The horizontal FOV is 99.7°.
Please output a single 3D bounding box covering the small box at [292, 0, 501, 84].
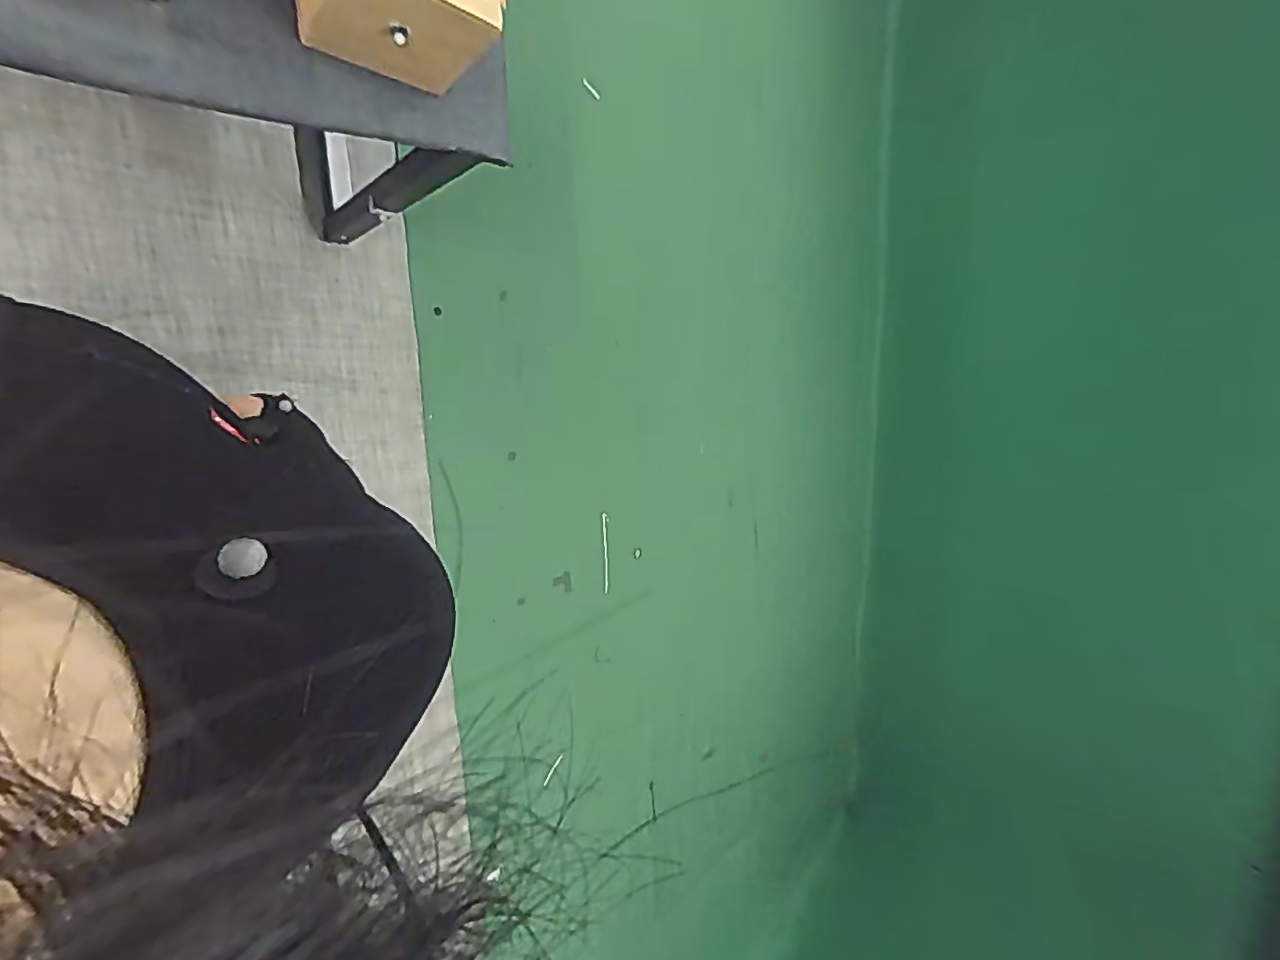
[{"bbox_3d":[-0.283,-0.599,0.619,0.179,0.176,0.168,-9,99,-43],"label":"small box"}]
